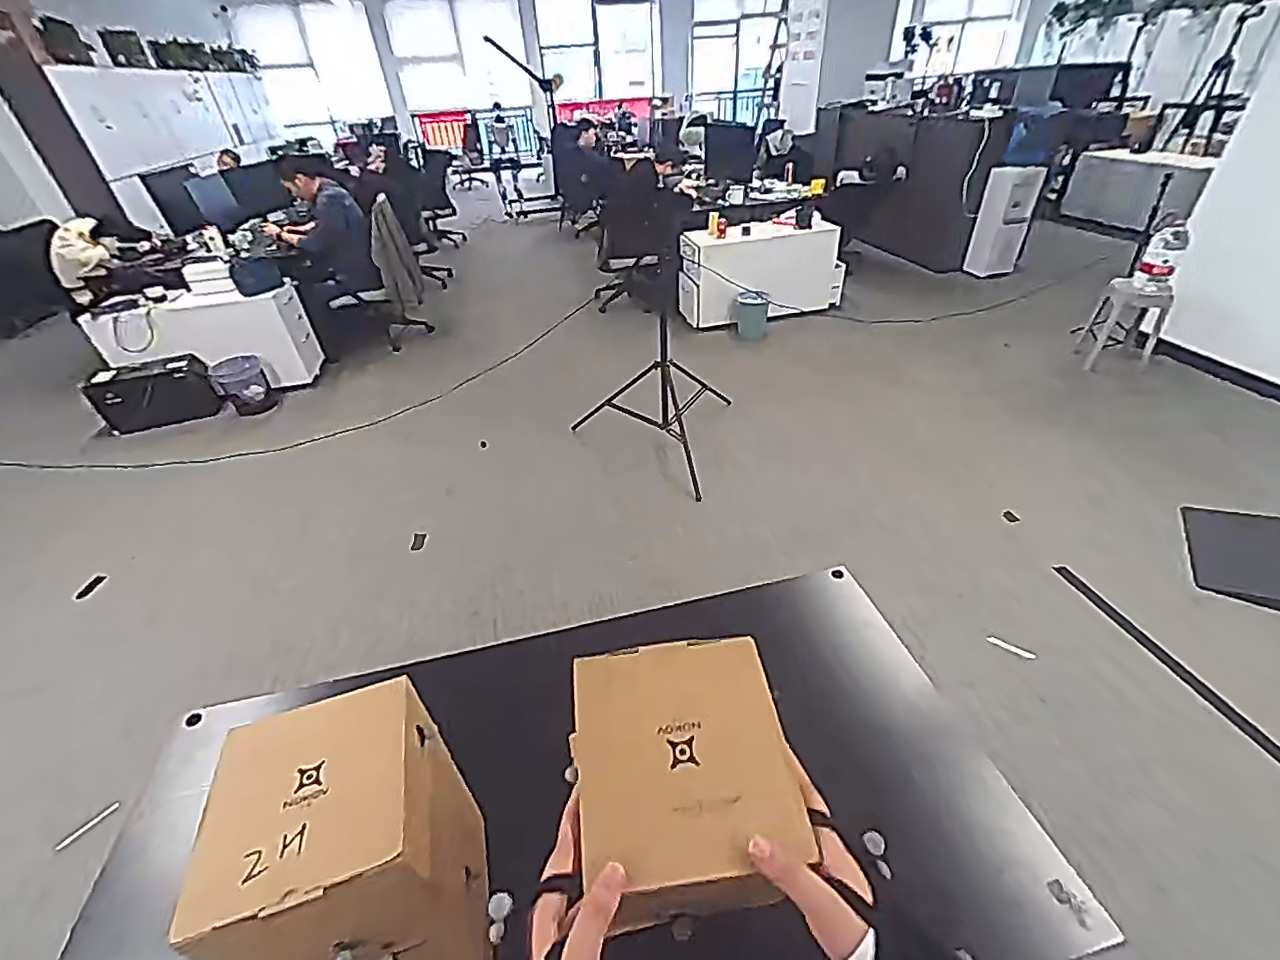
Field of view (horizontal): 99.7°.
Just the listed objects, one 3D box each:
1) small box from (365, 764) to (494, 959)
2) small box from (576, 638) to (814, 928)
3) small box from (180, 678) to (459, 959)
[{"bbox_3d":[-0.271,0.470,0.620,0.168,0.176,0.179,-14,38,-12],"label":"small box"},{"bbox_3d":[0.033,0.269,0.486,0.168,0.176,0.179,-6,44,-4],"label":"small box"},{"bbox_3d":[-0.282,0.334,0.525,0.168,0.176,0.179,-15,38,-13],"label":"small box"}]
